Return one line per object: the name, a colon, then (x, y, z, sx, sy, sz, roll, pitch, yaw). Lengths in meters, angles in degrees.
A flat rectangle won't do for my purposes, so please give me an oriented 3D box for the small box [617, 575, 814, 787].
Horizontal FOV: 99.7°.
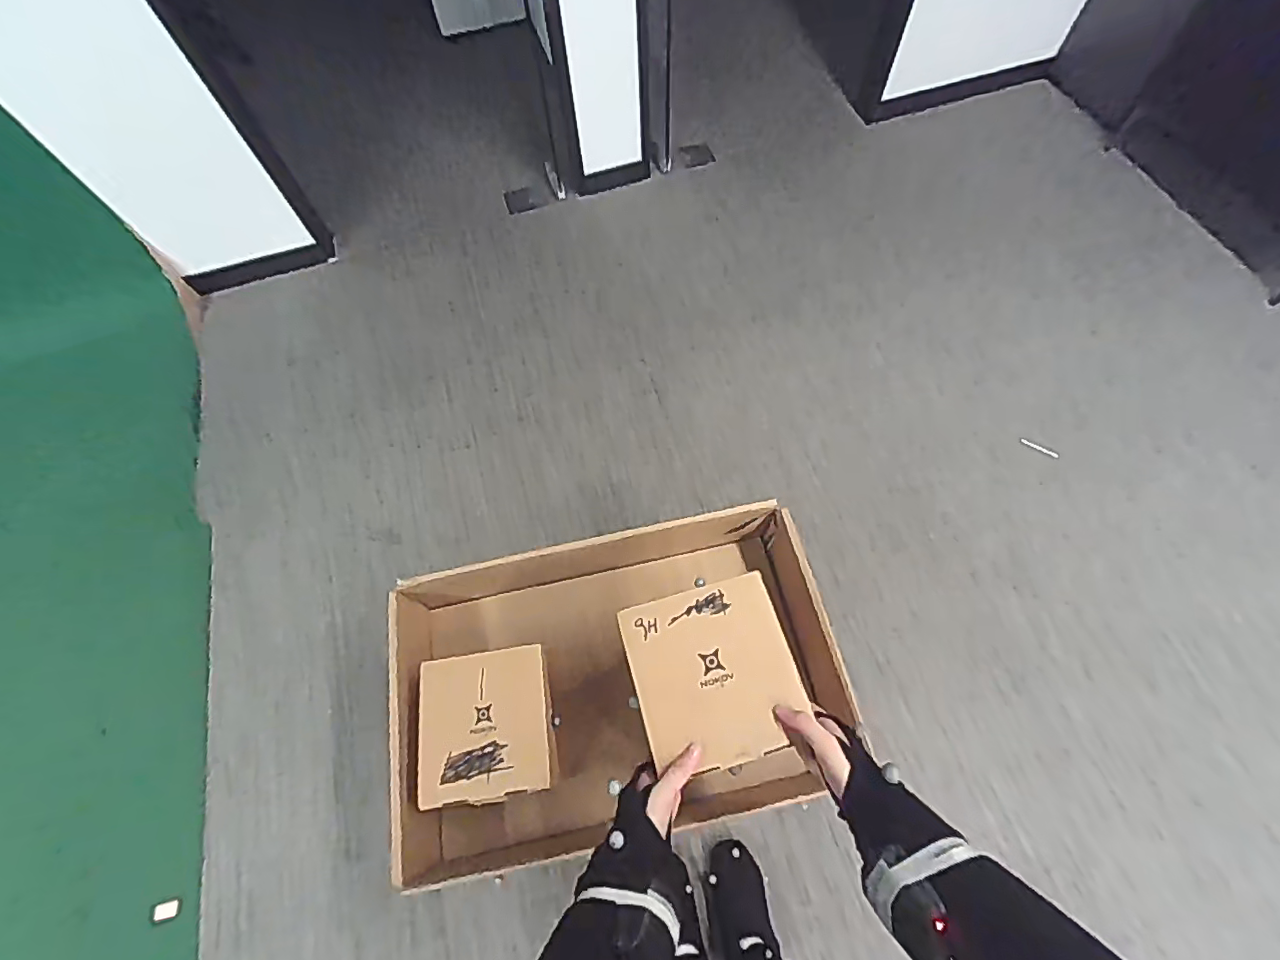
small box: (0.078, 0.231, 0.630, 0.168, 0.176, 0.179, -15, 66, -4)
